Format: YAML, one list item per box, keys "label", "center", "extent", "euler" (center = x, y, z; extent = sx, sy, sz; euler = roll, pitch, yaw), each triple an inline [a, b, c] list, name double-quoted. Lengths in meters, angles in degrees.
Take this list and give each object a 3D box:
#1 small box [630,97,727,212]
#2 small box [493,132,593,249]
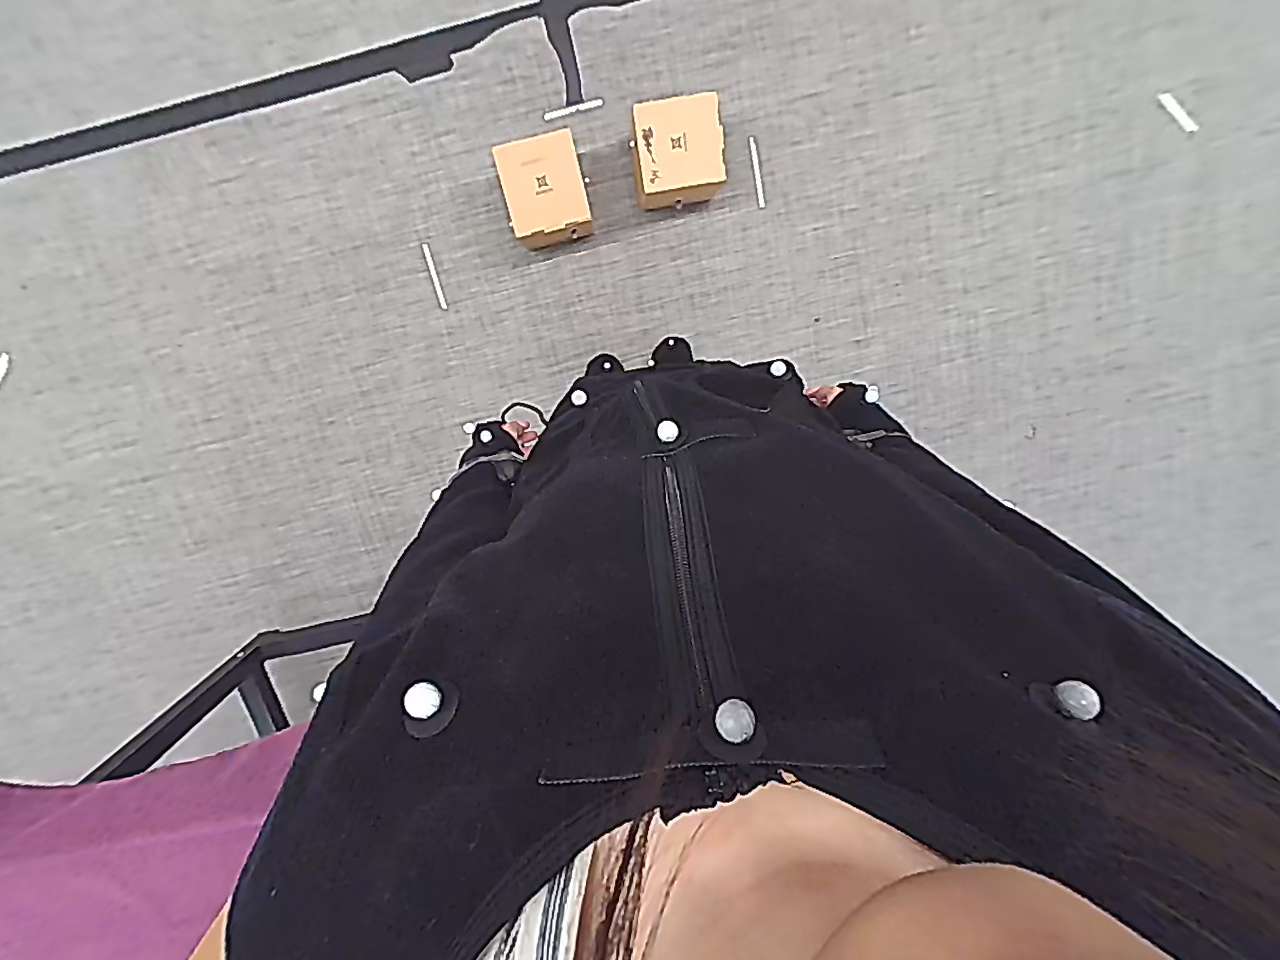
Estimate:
- label: "small box"
  center: [0.079, -0.699, 1.177]
  extent: [0.179, 0.176, 0.168]
  euler: [-10, 106, -2]
- label: "small box"
  center: [-0.201, -0.618, 1.181]
  extent: [0.168, 0.176, 0.179]
  euler: [-15, 104, -1]
